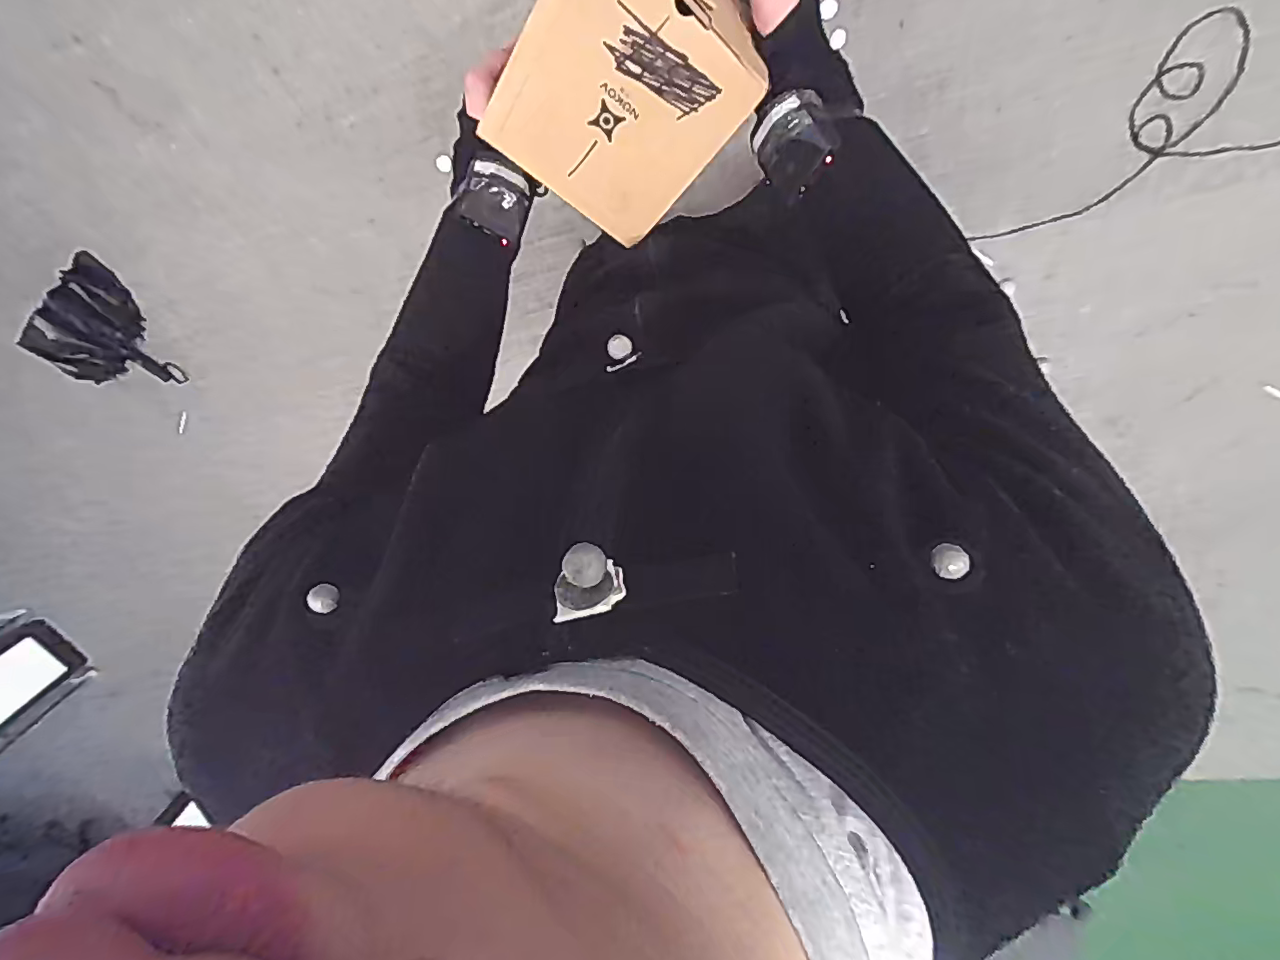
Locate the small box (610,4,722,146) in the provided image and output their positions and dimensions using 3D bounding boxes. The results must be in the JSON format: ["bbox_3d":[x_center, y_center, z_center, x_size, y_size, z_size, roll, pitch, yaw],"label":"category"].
[{"bbox_3d":[0.058,-0.821,1.117,0.168,0.176,0.179,26,121,-9],"label":"small box"}]
